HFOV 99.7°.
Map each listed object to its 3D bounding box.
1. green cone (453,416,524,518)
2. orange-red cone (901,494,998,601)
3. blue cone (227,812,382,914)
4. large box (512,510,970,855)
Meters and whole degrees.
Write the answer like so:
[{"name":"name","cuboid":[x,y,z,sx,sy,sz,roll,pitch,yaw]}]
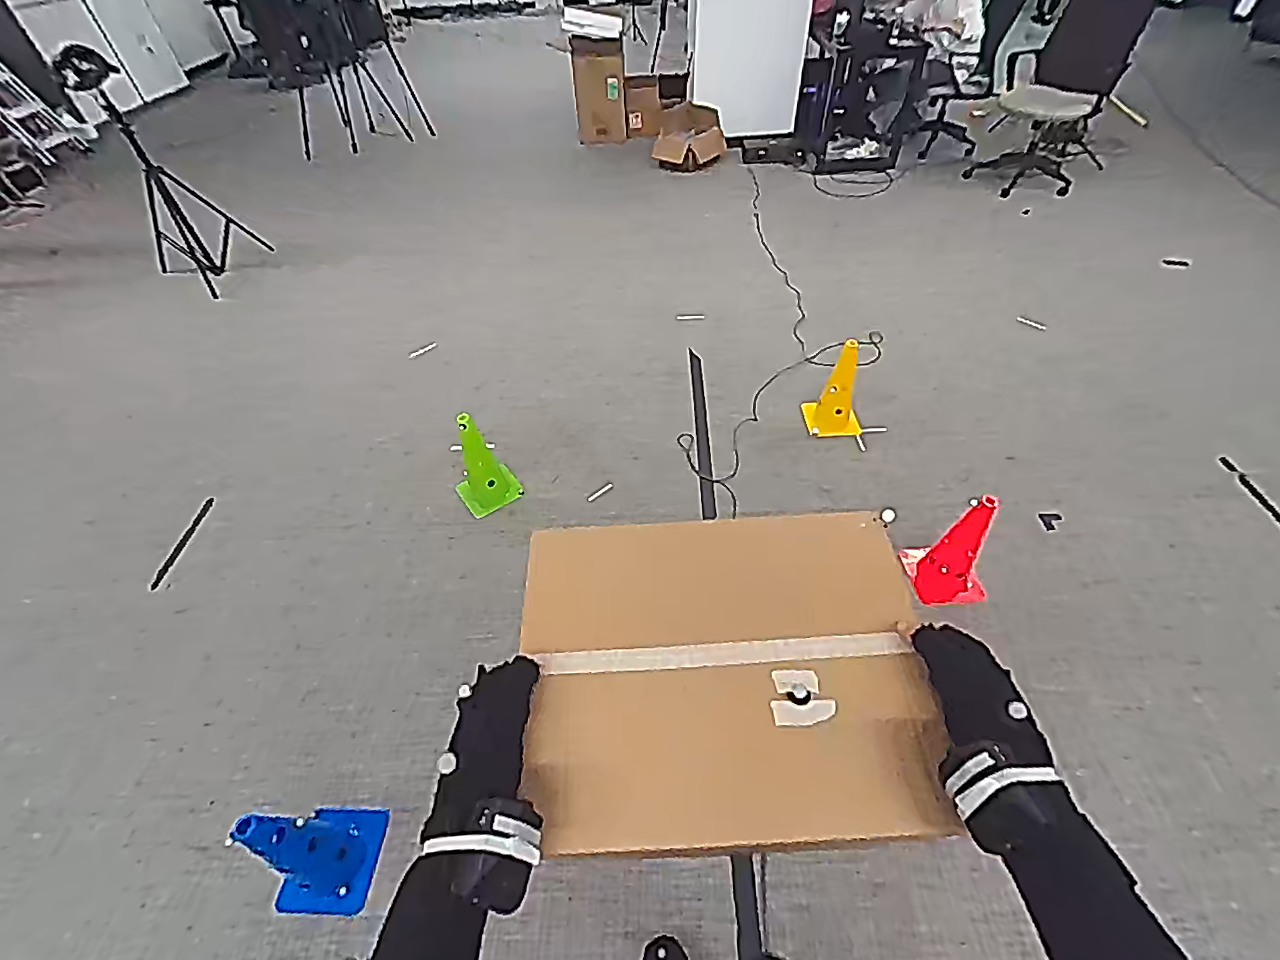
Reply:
[{"name":"green cone","cuboid":[-0.563,-0.078,1.862,0.202,0.368,0.200,-32,53,-21]},{"name":"orange-red cone","cuboid":[0.920,0.168,1.539,0.198,0.360,0.199,-3,46,0]},{"name":"blue cone","cuboid":[-0.714,0.766,1.123,0.192,0.380,0.193,0,47,5]},{"name":"large box","cuboid":[0.083,0.259,0.666,0.408,0.320,0.320,-3,55,0]}]
